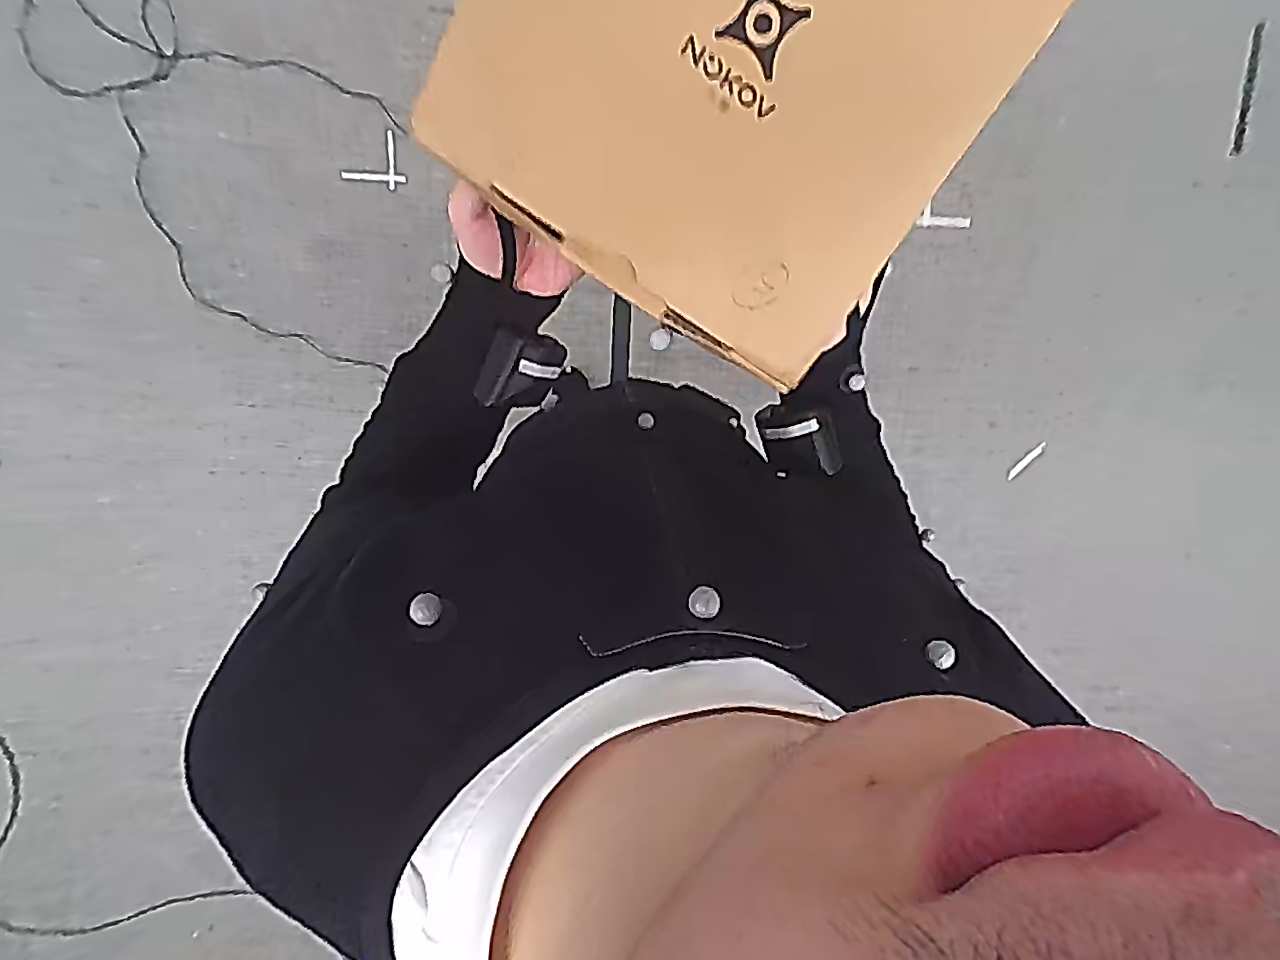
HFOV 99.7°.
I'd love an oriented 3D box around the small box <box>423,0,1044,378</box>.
[{"bbox_3d":[0.029,-0.176,0.264,0.168,0.176,0.179,29,104,-14],"label":"small box"}]
